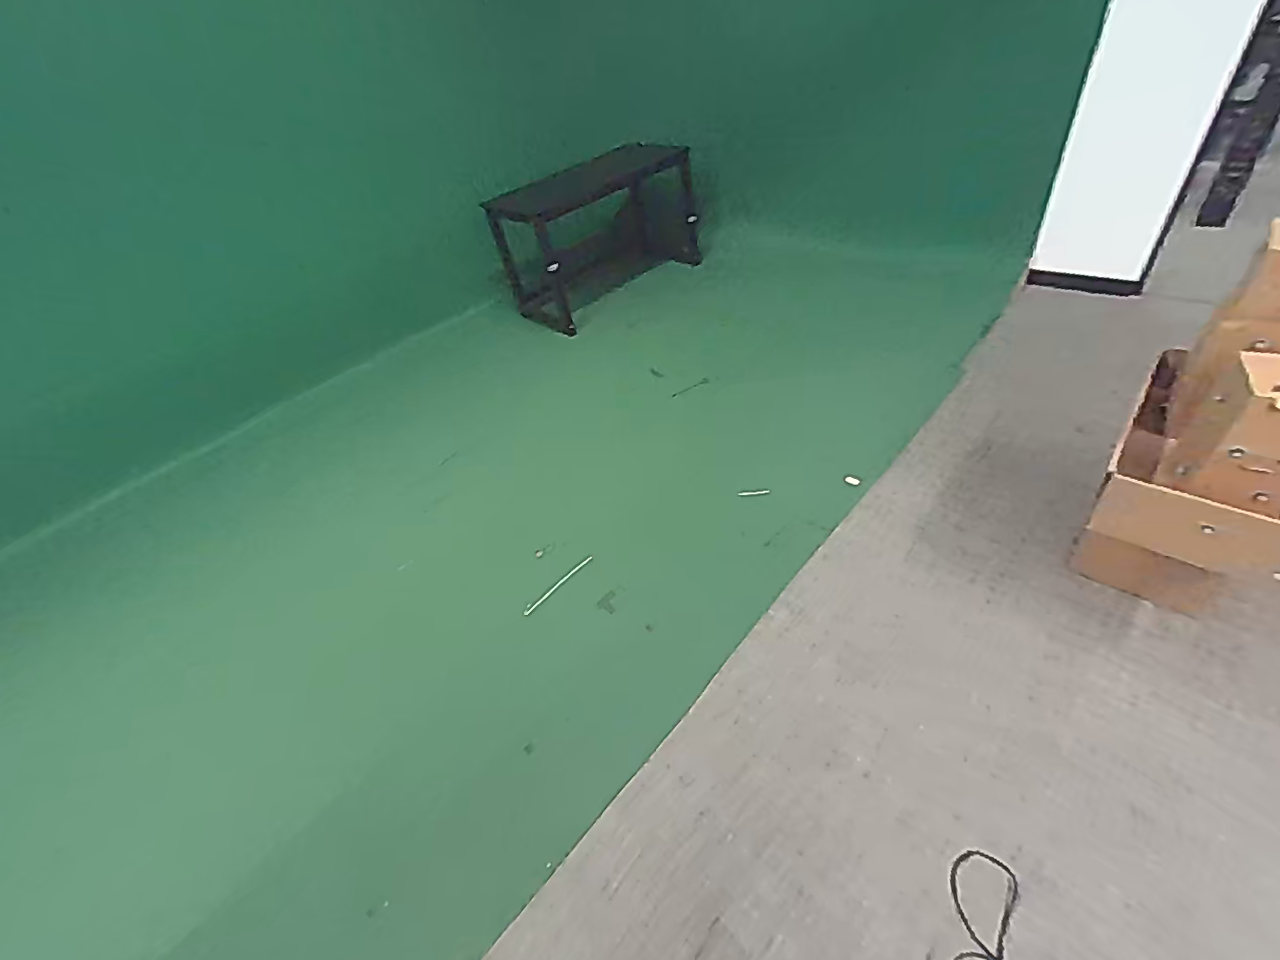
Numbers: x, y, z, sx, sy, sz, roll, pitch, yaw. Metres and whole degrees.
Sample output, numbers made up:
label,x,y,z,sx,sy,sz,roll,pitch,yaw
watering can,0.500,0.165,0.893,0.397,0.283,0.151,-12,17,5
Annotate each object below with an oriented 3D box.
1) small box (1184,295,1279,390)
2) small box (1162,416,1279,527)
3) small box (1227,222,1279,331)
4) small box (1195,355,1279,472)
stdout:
label,x,y,z,sx,sy,sz,roll,pitch,yaw
small box,1.448,-0.313,1.278,0.179,0.176,0.168,20,52,34
small box,1.342,-0.019,1.235,0.168,0.176,0.179,14,48,27
small box,1.428,-0.437,1.170,0.168,0.176,0.179,22,54,35
small box,1.312,-0.135,1.123,0.168,0.176,0.179,14,48,26
